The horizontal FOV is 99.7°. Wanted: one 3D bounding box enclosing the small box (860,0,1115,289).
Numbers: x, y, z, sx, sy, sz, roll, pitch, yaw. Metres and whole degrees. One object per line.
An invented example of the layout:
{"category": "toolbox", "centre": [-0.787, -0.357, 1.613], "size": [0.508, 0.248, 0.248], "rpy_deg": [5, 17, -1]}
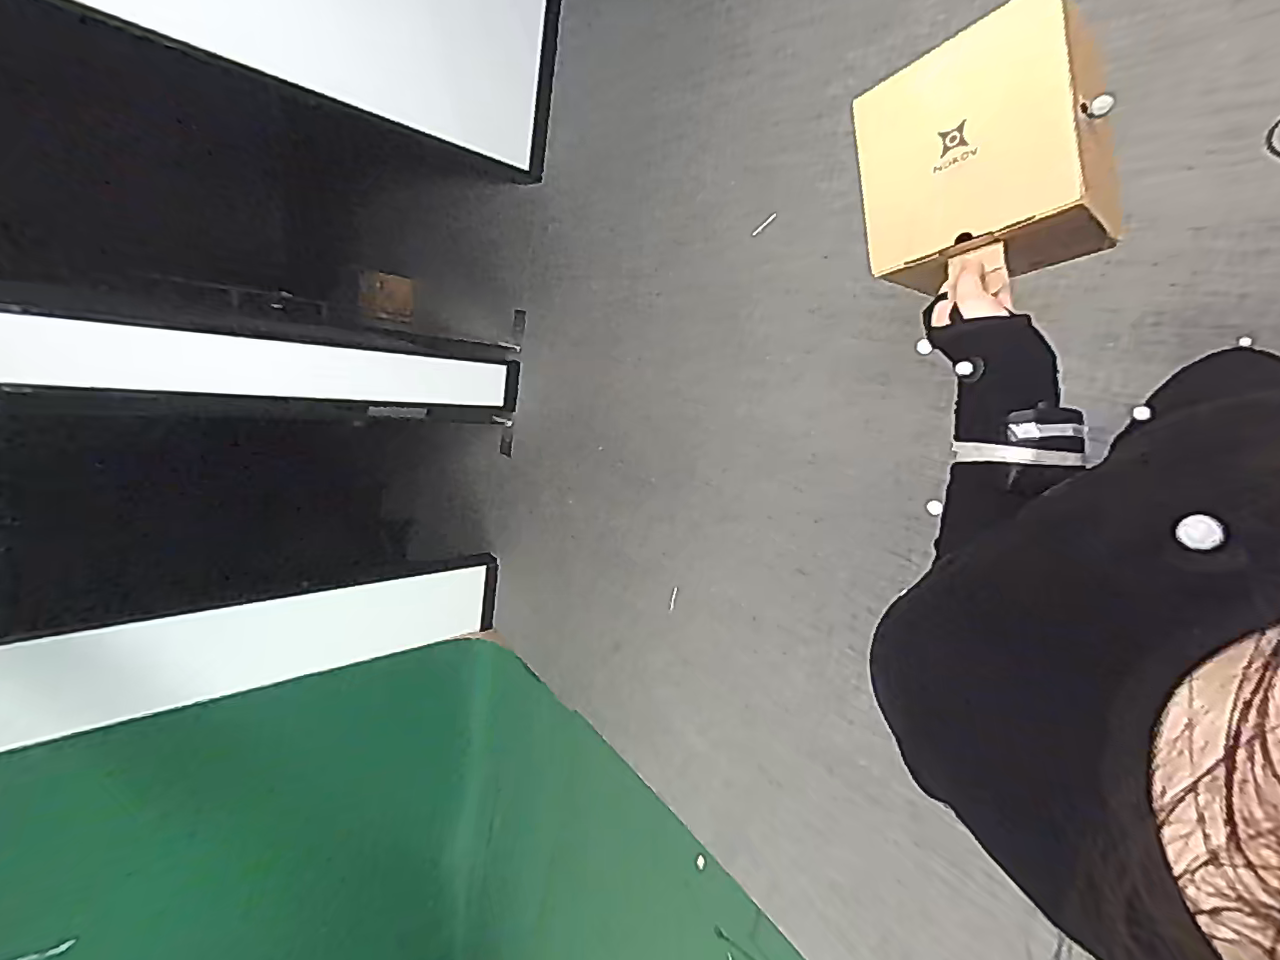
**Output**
{"category": "small box", "centre": [0.335, -0.303, 0.521], "size": [0.168, 0.176, 0.179], "rpy_deg": [-5, 93, 48]}
